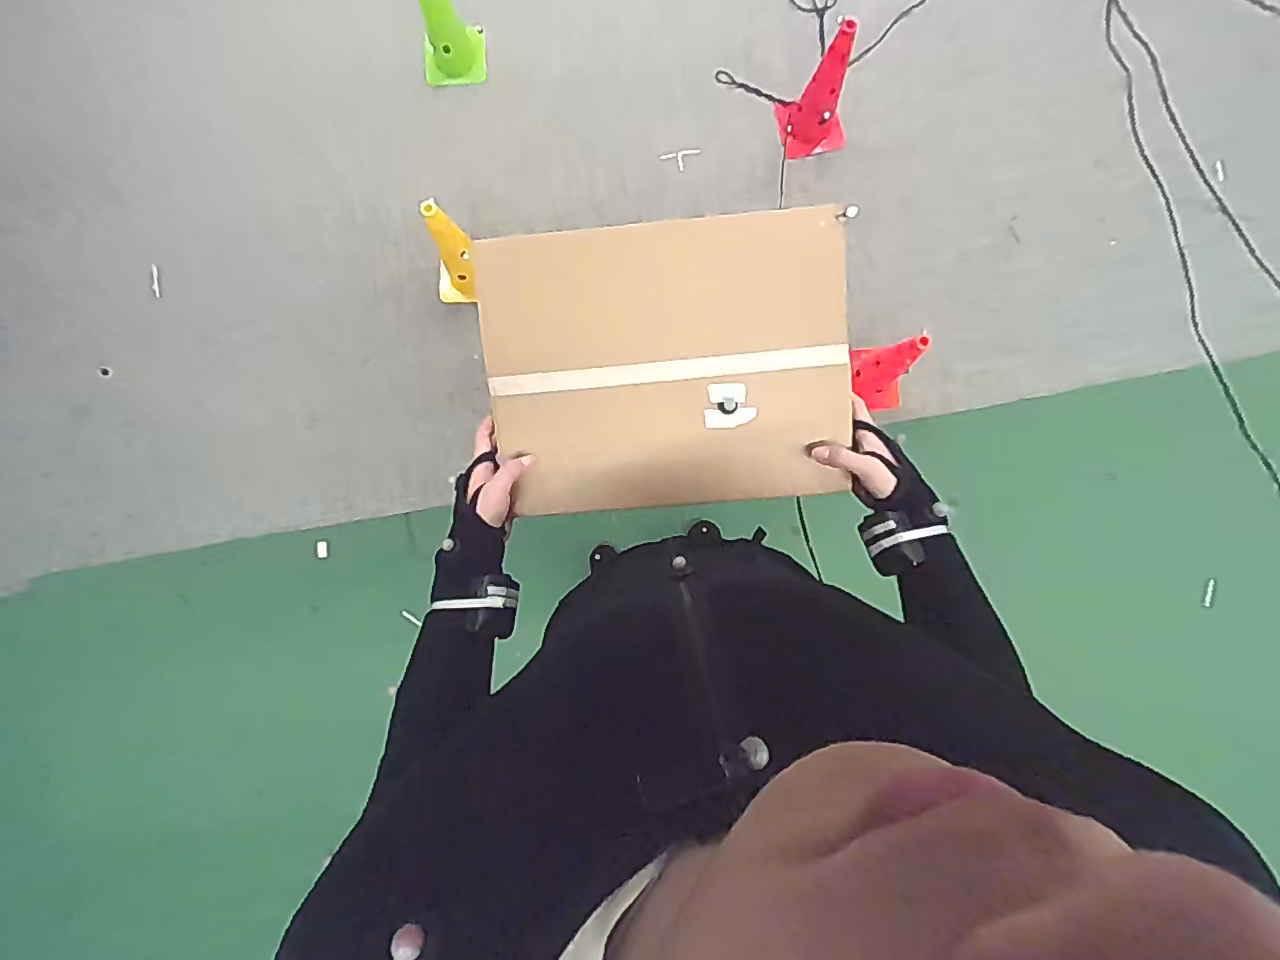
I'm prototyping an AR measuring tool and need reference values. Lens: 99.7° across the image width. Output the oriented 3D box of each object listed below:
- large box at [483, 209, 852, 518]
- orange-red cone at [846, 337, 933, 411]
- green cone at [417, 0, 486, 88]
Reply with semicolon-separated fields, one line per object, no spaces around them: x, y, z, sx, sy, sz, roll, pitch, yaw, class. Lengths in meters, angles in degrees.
0.038;-0.147;0.763;0.408;0.320;0.320;-5;100;2;large box
0.711;-0.327;1.517;0.199;0.360;0.198;-3;86;-1;orange-red cone
-0.619;-1.416;1.627;0.200;0.368;0.202;-5;86;1;green cone
